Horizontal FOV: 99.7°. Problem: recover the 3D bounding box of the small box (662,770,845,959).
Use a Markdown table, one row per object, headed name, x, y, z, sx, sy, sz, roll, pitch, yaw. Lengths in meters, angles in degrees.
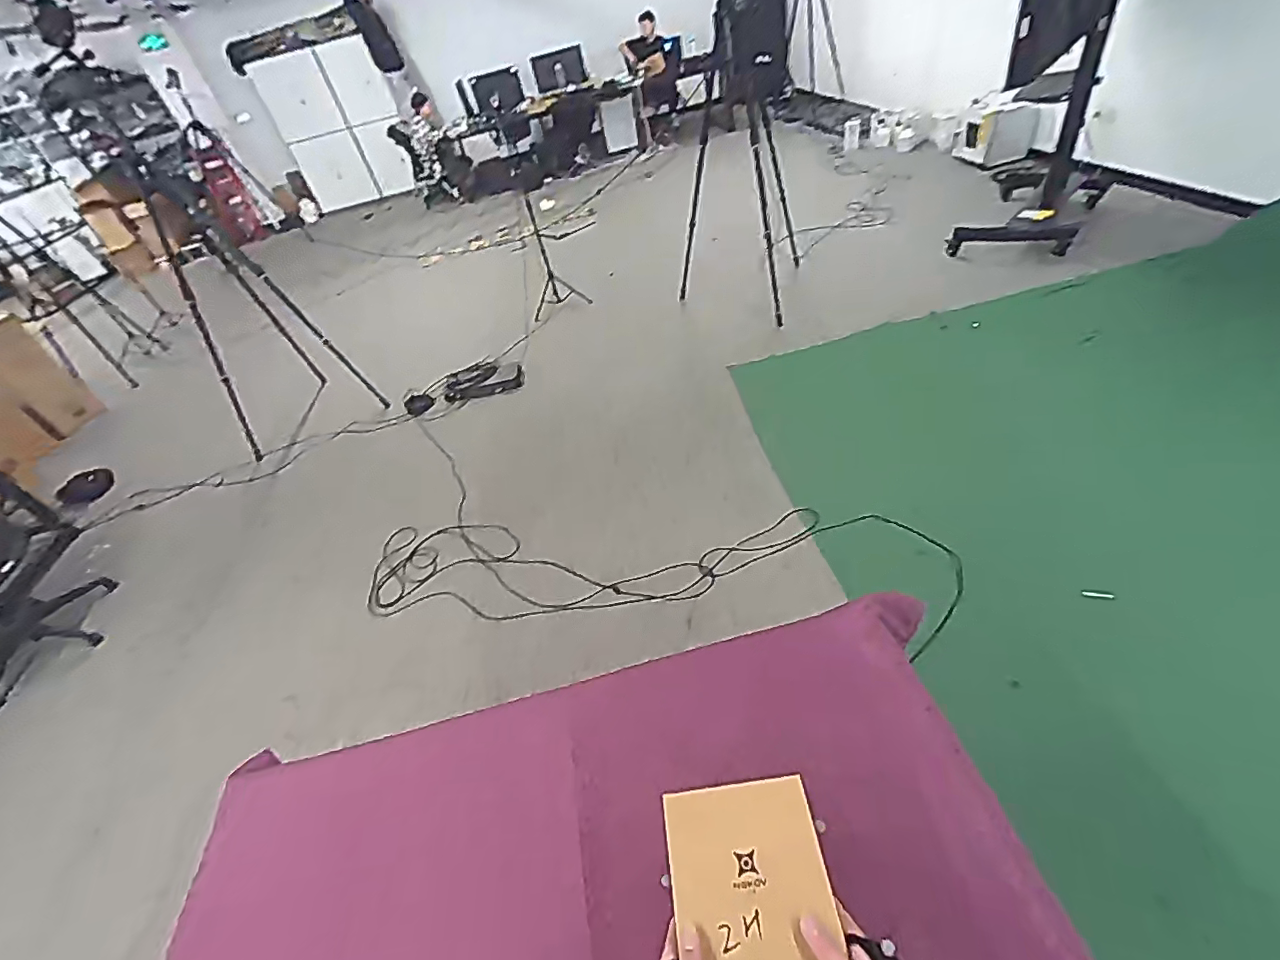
| name | x | y | z | sx | sy | sz | roll | pitch | yaw |
| --- | --- | --- | --- | --- | --- | --- | --- | --- | --- |
| small box | 0.123 | 0.468 | 0.632 | 0.168 | 0.176 | 0.179 | -11 | 44 | 4 |
